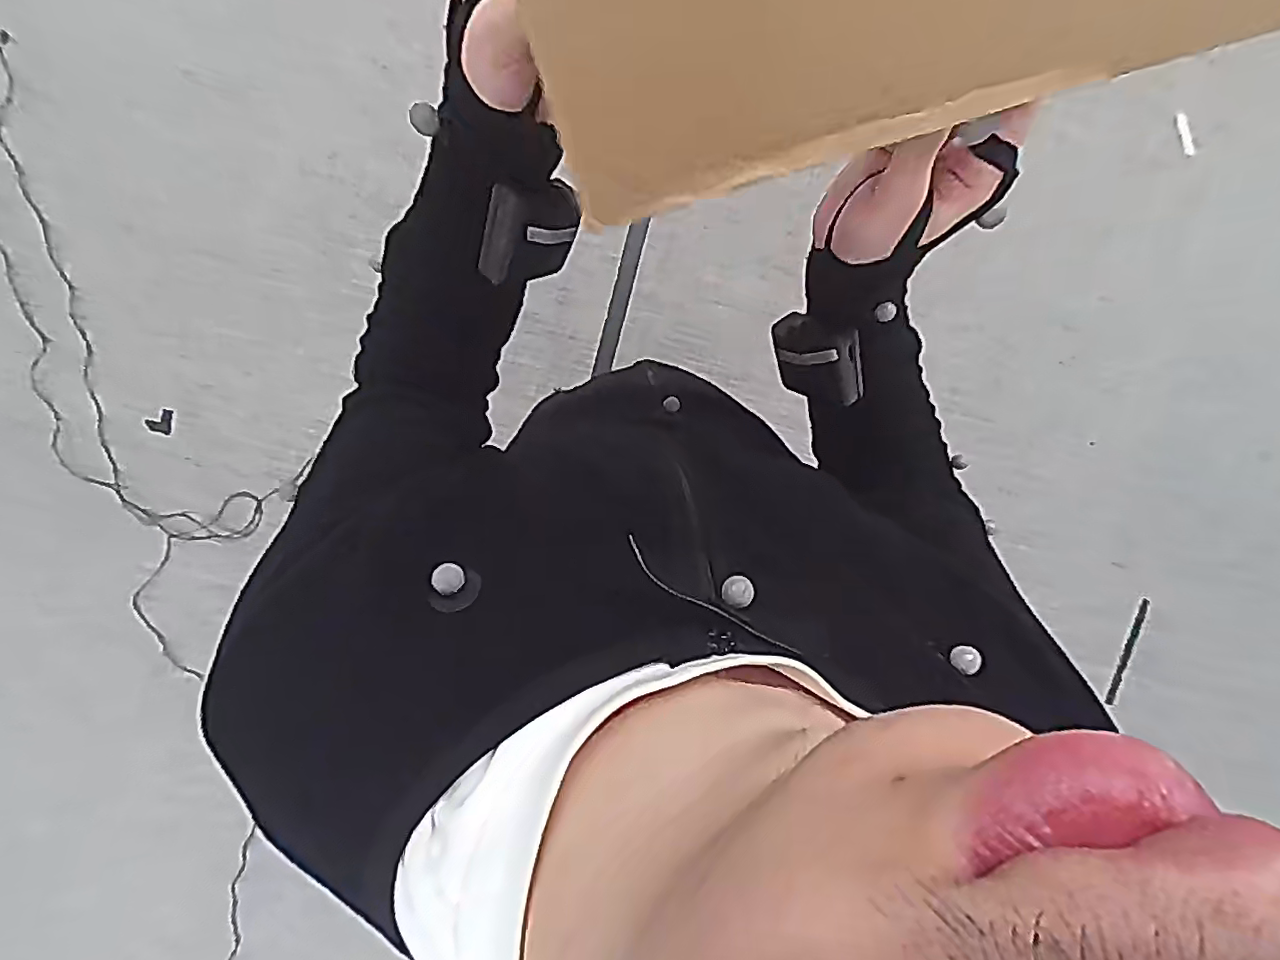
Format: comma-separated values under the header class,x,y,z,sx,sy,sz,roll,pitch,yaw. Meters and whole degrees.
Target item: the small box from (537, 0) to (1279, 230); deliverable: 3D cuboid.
class,x,y,z,sx,sy,sz,roll,pitch,yaw
small box,0.054,-0.202,0.168,0.179,0.176,0.168,-13,121,13
